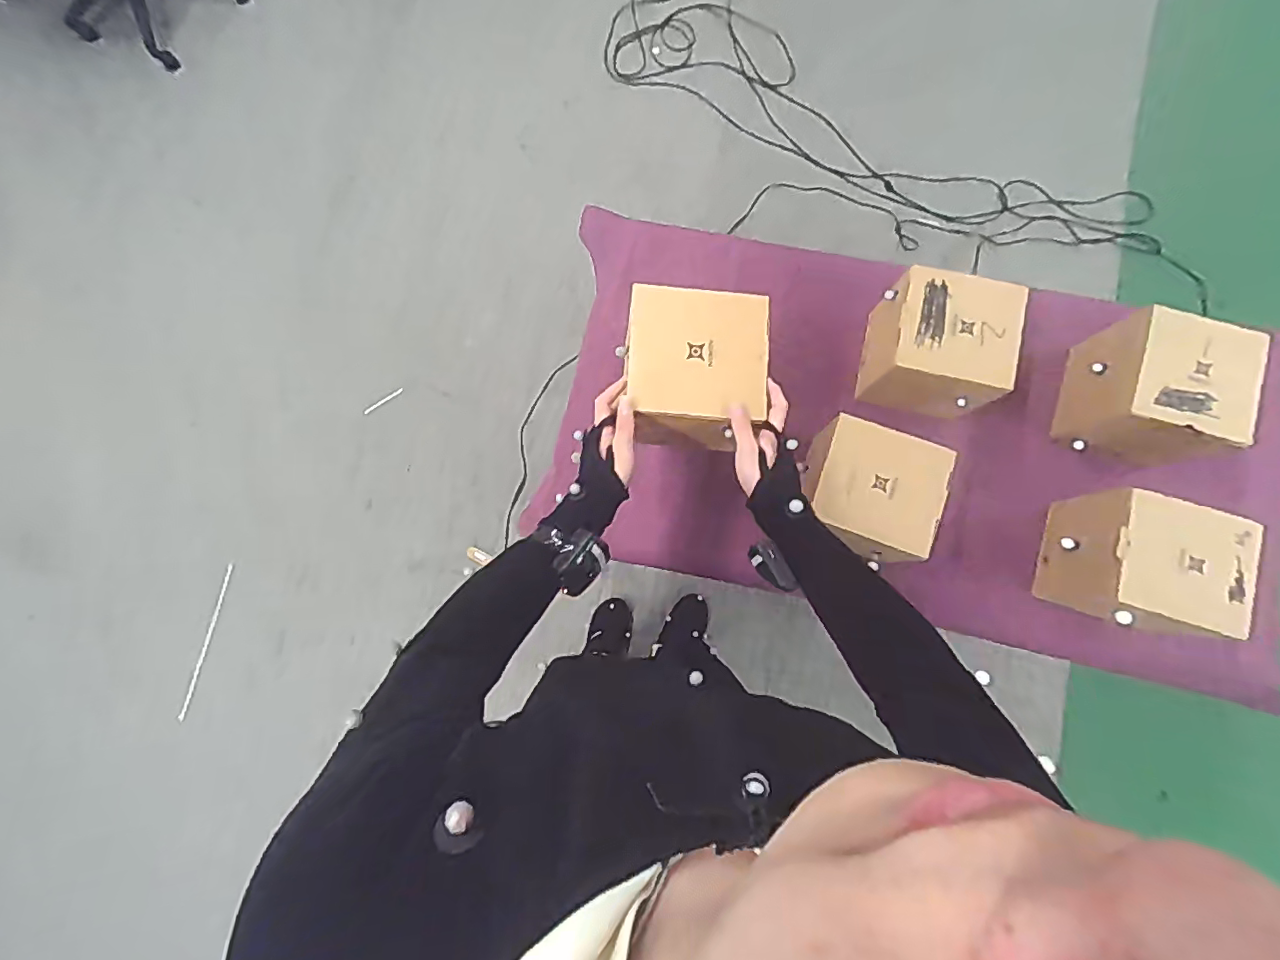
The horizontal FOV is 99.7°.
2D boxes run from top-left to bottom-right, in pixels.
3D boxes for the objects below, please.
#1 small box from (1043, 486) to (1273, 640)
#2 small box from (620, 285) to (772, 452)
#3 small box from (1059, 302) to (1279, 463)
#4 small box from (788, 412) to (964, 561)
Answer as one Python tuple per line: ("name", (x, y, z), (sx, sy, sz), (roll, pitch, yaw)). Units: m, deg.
("small box", (0.746, 0.124, 0.800), (0.179, 0.176, 0.168), (17, 81, 6))
("small box", (0.066, -0.138, 0.729), (0.179, 0.176, 0.168), (4, 80, -5))
("small box", (0.802, -0.139, 0.839), (0.168, 0.176, 0.179), (19, 82, 5))
("small box", (0.351, 0.018, 0.837), (0.179, 0.176, 0.168), (20, 81, 7))
